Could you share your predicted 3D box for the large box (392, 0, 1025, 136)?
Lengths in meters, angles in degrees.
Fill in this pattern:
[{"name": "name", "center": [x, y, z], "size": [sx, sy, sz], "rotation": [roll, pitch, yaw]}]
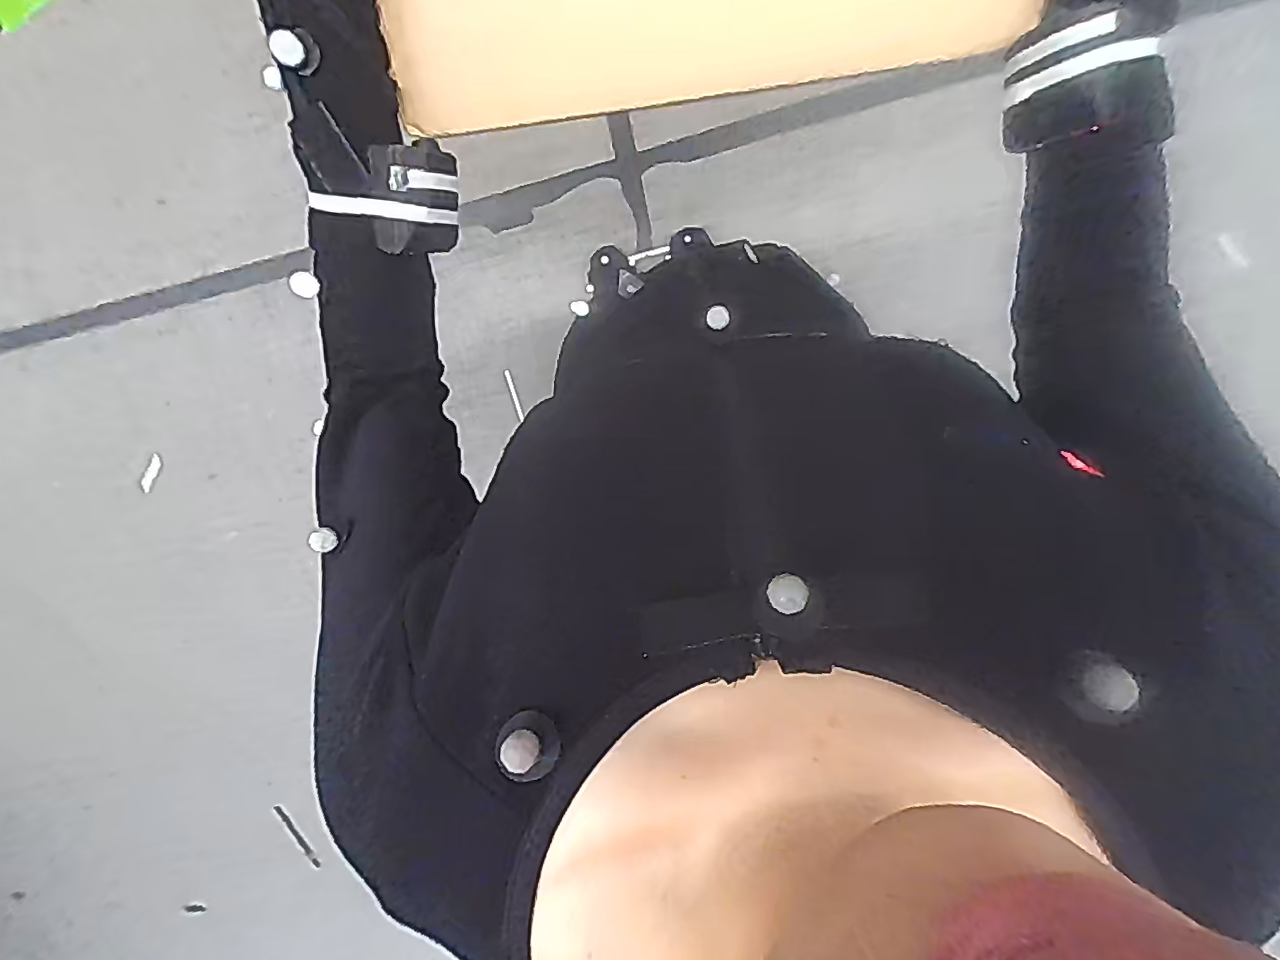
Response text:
[{"name": "large box", "center": [0.023, -0.469, 0.400], "size": [0.408, 0.320, 0.320], "rotation": [-8, 125, 1]}]
